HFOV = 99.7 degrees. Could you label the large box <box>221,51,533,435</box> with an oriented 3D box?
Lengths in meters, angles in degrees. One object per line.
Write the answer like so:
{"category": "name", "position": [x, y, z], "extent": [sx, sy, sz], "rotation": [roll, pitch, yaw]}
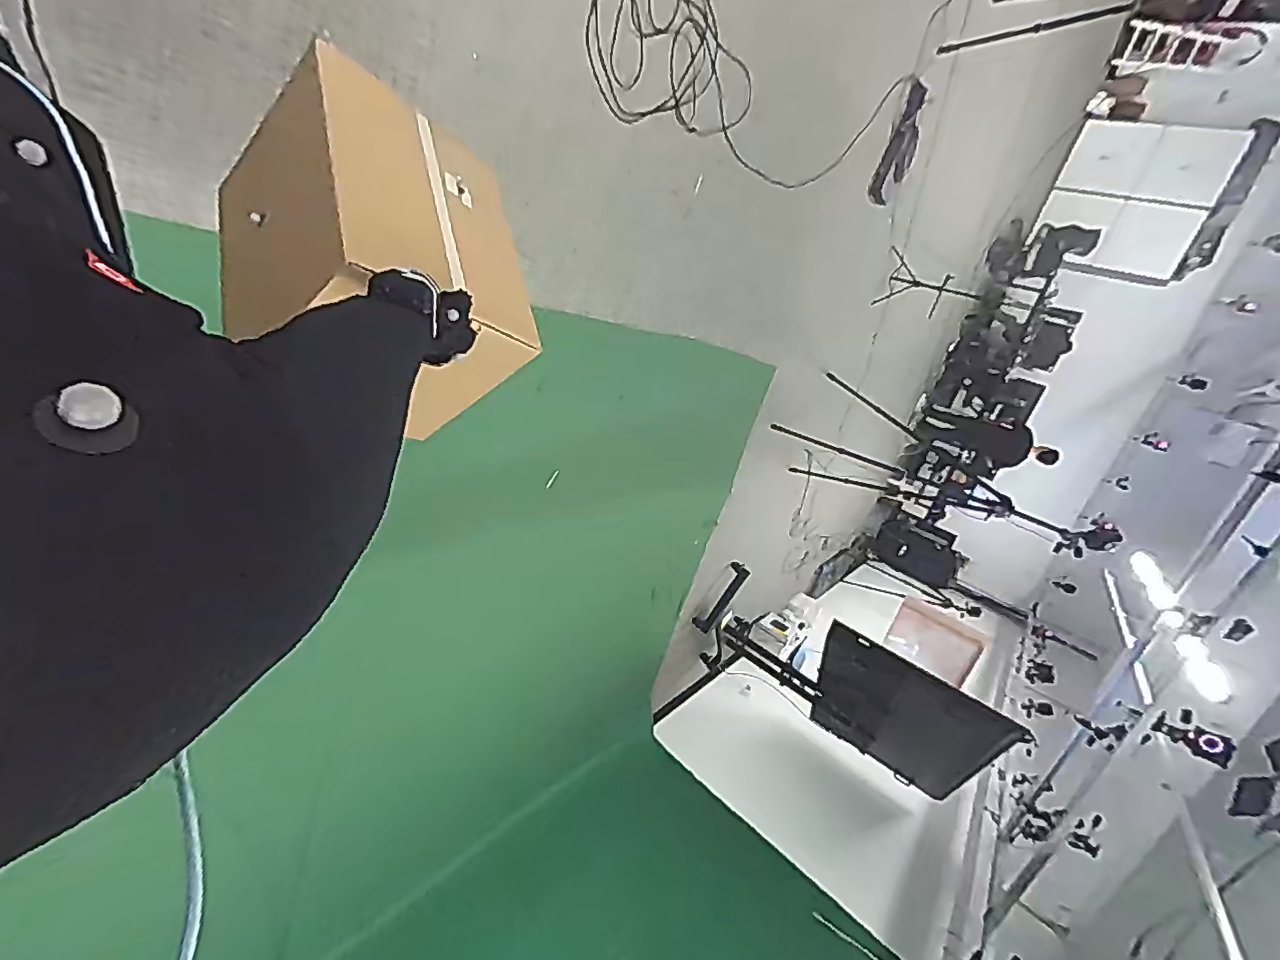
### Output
{"category": "large box", "position": [-0.430, -0.333, 0.872], "extent": [0.320, 0.408, 0.320], "rotation": [-29, 158, 27]}
